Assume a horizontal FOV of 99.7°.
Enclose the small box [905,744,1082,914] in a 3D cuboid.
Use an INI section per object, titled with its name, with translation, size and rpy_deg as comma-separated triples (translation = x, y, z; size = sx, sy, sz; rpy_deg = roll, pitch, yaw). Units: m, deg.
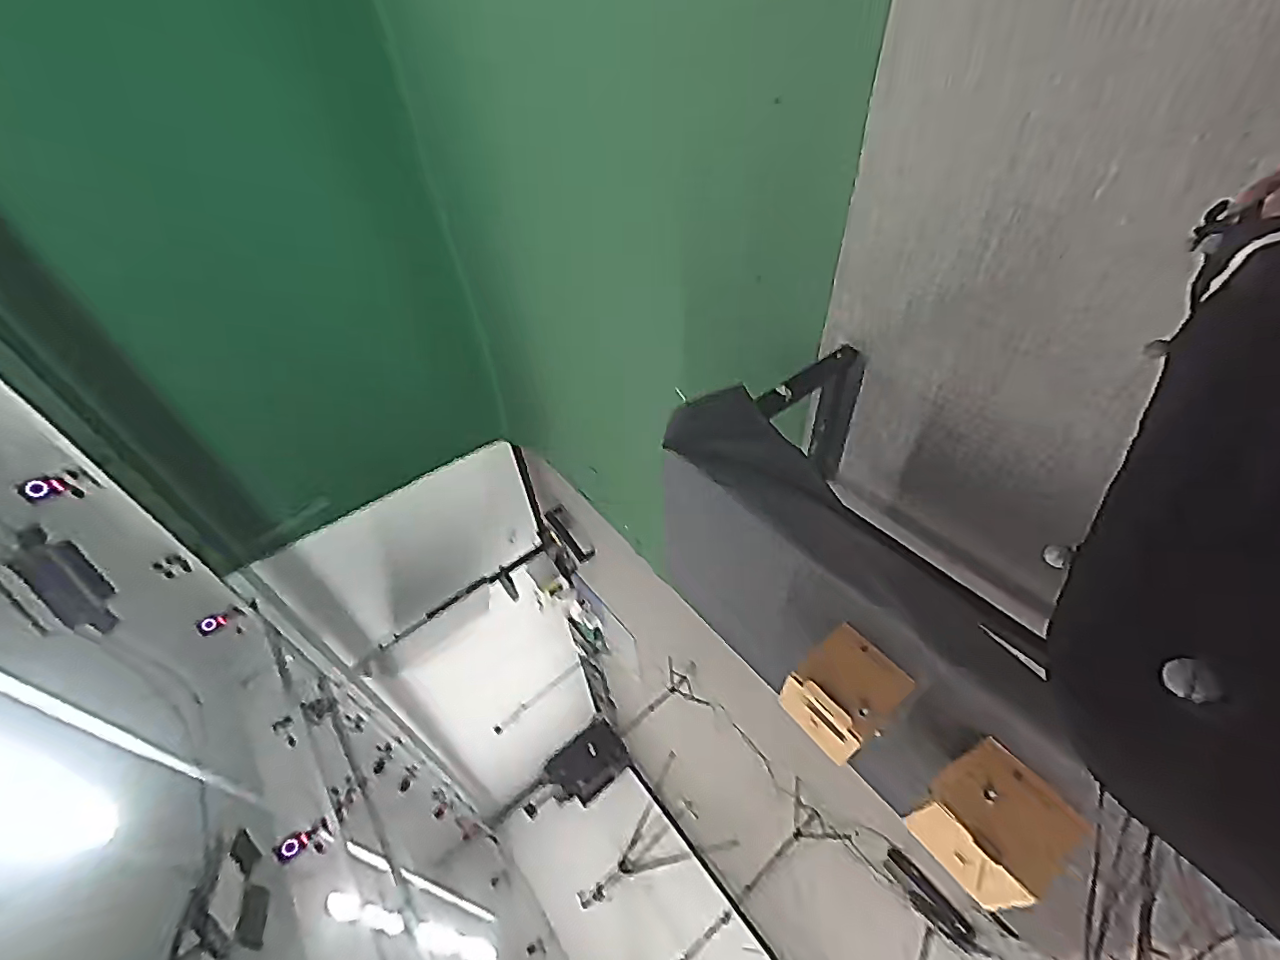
[small box]
translation = 0.593, 0.583, 0.912
size = 0.168, 0.176, 0.179
rpy_deg = 44, 154, 33
